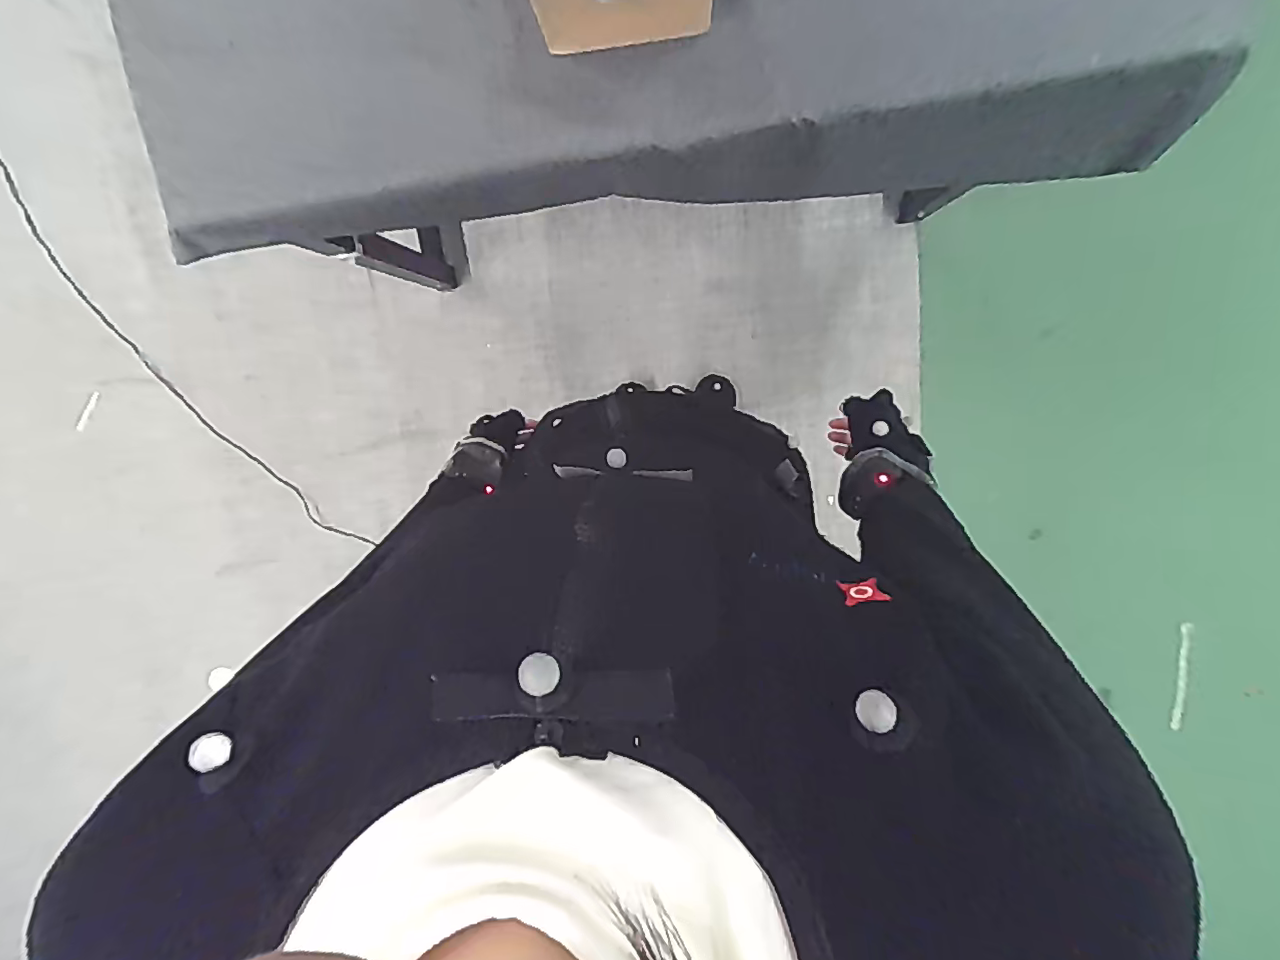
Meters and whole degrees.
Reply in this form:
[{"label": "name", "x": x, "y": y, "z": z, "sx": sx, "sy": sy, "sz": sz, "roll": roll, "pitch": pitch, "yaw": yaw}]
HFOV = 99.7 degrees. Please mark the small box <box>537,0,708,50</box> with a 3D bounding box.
[{"label": "small box", "x": -0.027, "y": -0.547, "z": 0.503, "sx": 0.179, "sy": 0.176, "sz": 0.168, "roll": -8, "pitch": 100, "yaw": 5}]
